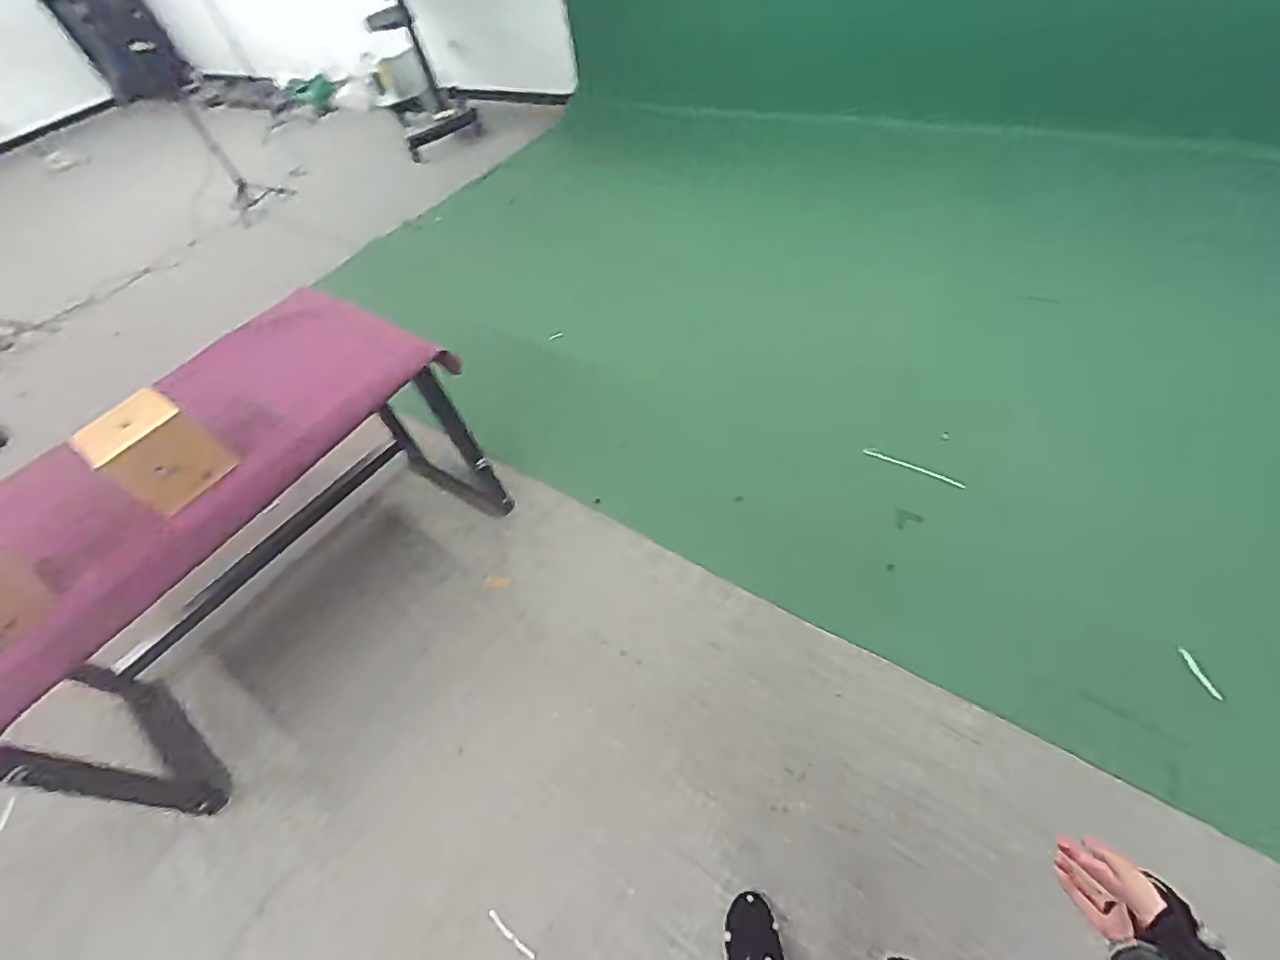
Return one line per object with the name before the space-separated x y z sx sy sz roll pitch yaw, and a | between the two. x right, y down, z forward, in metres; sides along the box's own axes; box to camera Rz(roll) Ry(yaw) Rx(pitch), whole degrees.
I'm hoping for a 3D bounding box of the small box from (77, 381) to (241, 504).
small box | -0.996 -0.075 1.134 0.179 0.176 0.168 24 61 28
